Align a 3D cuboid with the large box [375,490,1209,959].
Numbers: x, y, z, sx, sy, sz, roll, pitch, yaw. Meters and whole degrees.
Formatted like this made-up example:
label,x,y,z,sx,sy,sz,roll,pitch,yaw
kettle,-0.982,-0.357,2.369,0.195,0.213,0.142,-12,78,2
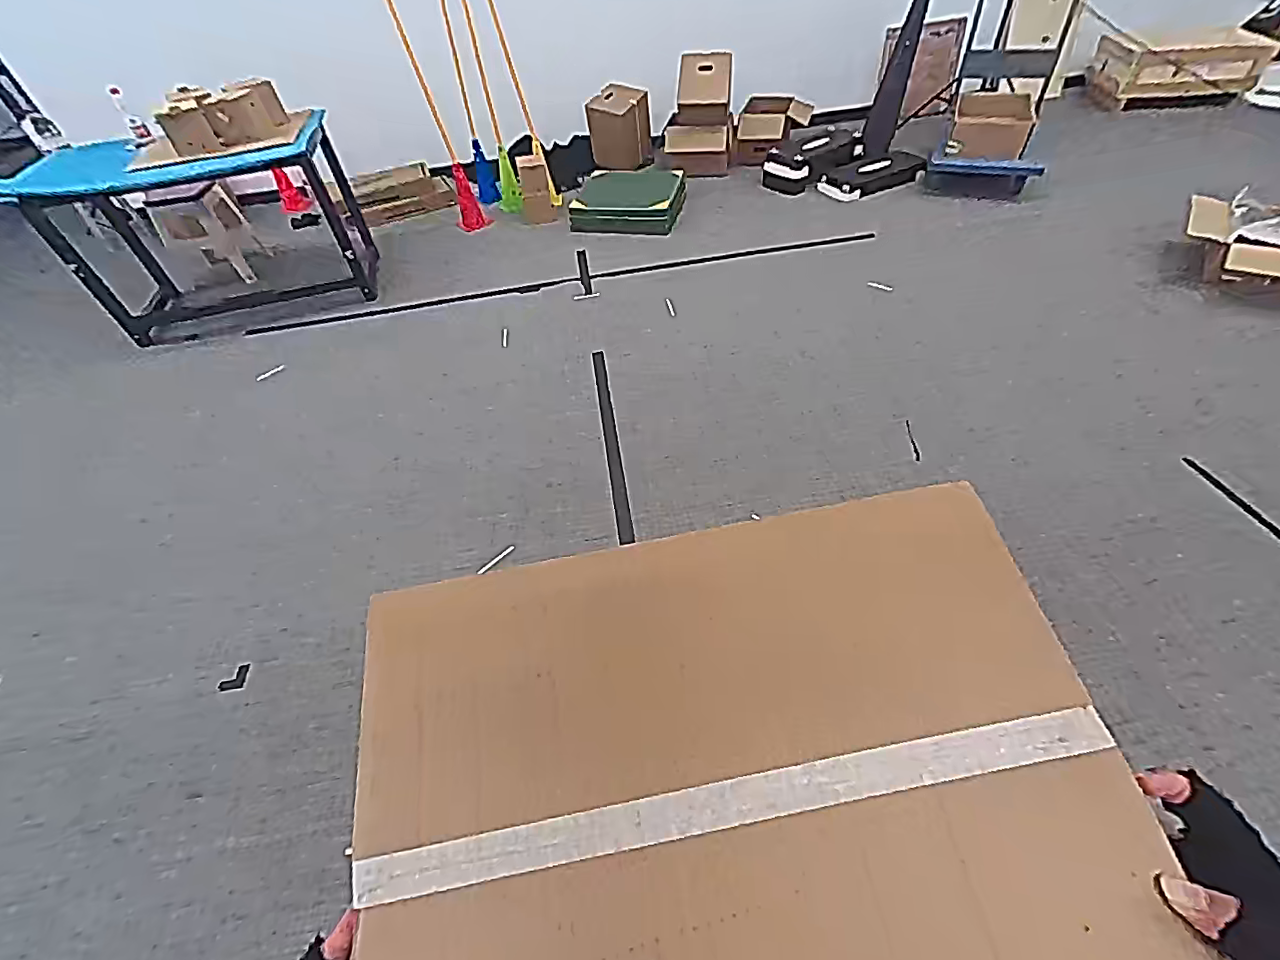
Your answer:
label,x,y,z,sx,sy,sz,roll,pitch,yaw
large box,0.063,0.248,0.427,0.408,0.320,0.320,-11,62,-1
